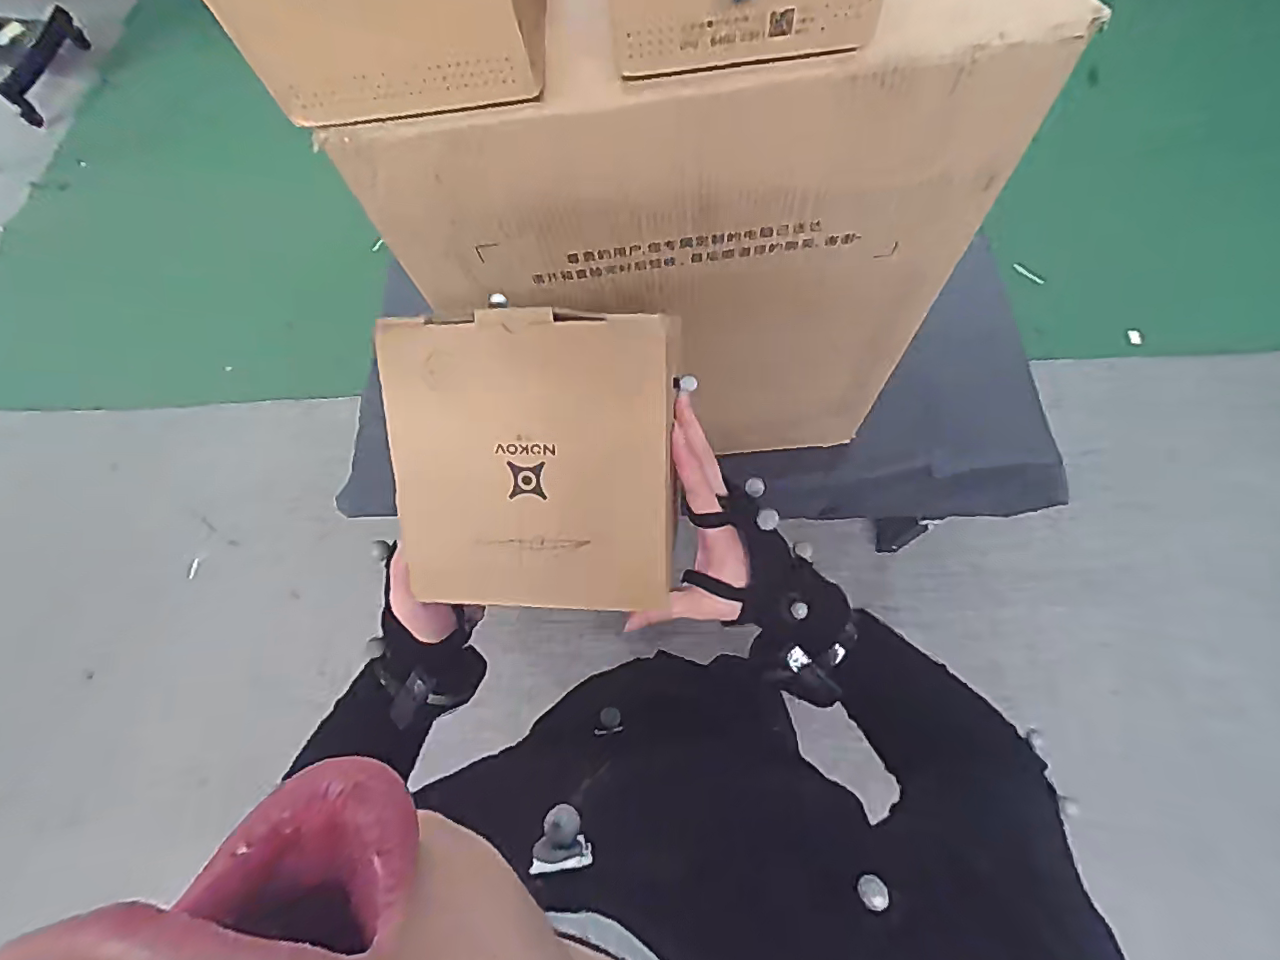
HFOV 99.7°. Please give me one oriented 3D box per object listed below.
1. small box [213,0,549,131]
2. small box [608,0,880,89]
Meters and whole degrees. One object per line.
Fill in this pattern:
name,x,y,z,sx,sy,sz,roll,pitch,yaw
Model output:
small box,-0.162,-0.346,0.325,0.179,0.176,0.168,-4,70,5
small box,0.057,-0.372,0.312,0.168,0.176,0.179,-4,71,3
